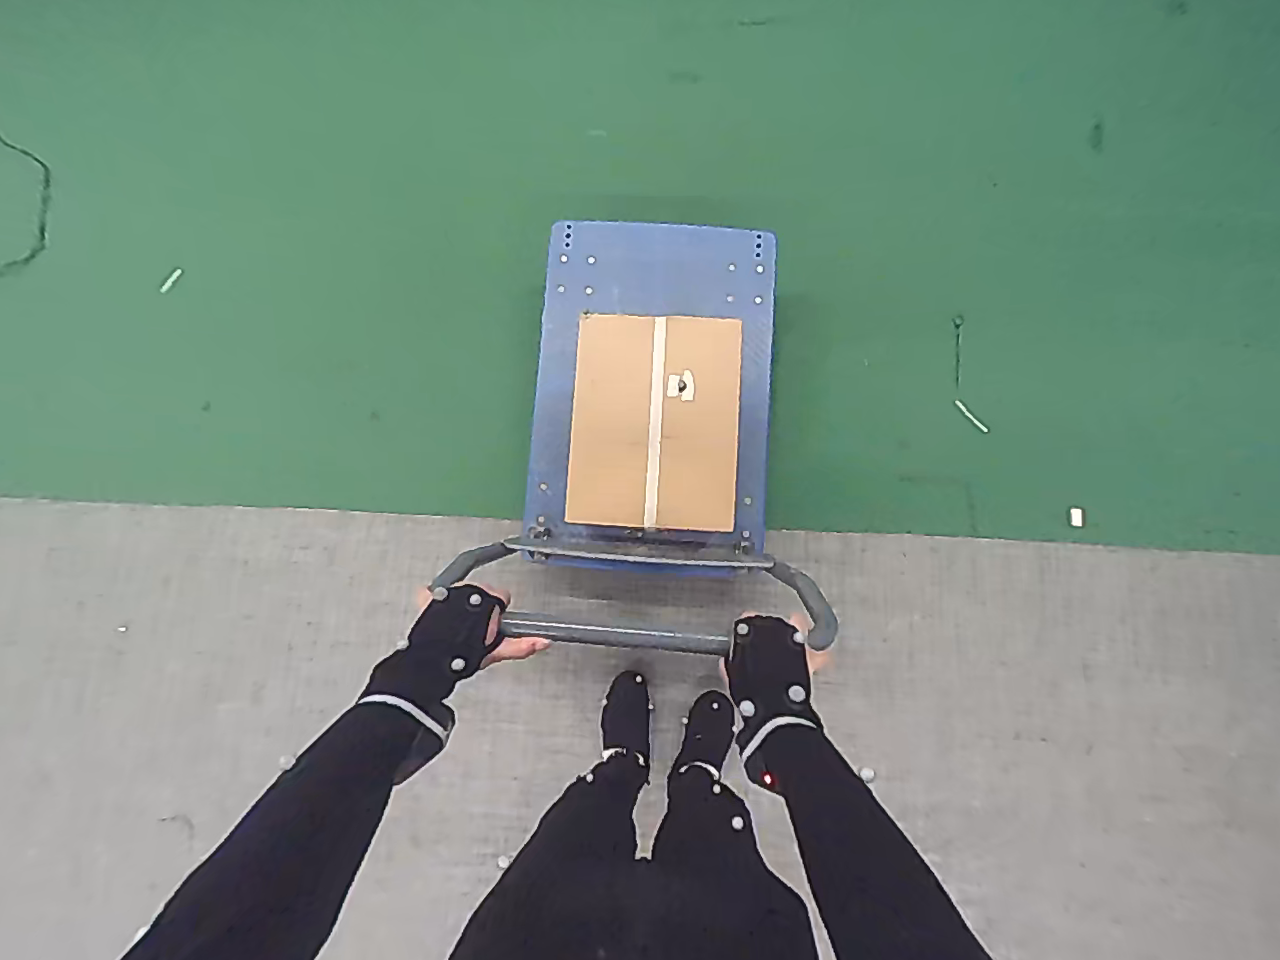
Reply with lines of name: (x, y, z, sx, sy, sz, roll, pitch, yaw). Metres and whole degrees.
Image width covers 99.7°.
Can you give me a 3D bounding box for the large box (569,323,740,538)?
large box: (0.036, -0.082, 1.164, 0.320, 0.320, 0.408, 3, 83, 2)
